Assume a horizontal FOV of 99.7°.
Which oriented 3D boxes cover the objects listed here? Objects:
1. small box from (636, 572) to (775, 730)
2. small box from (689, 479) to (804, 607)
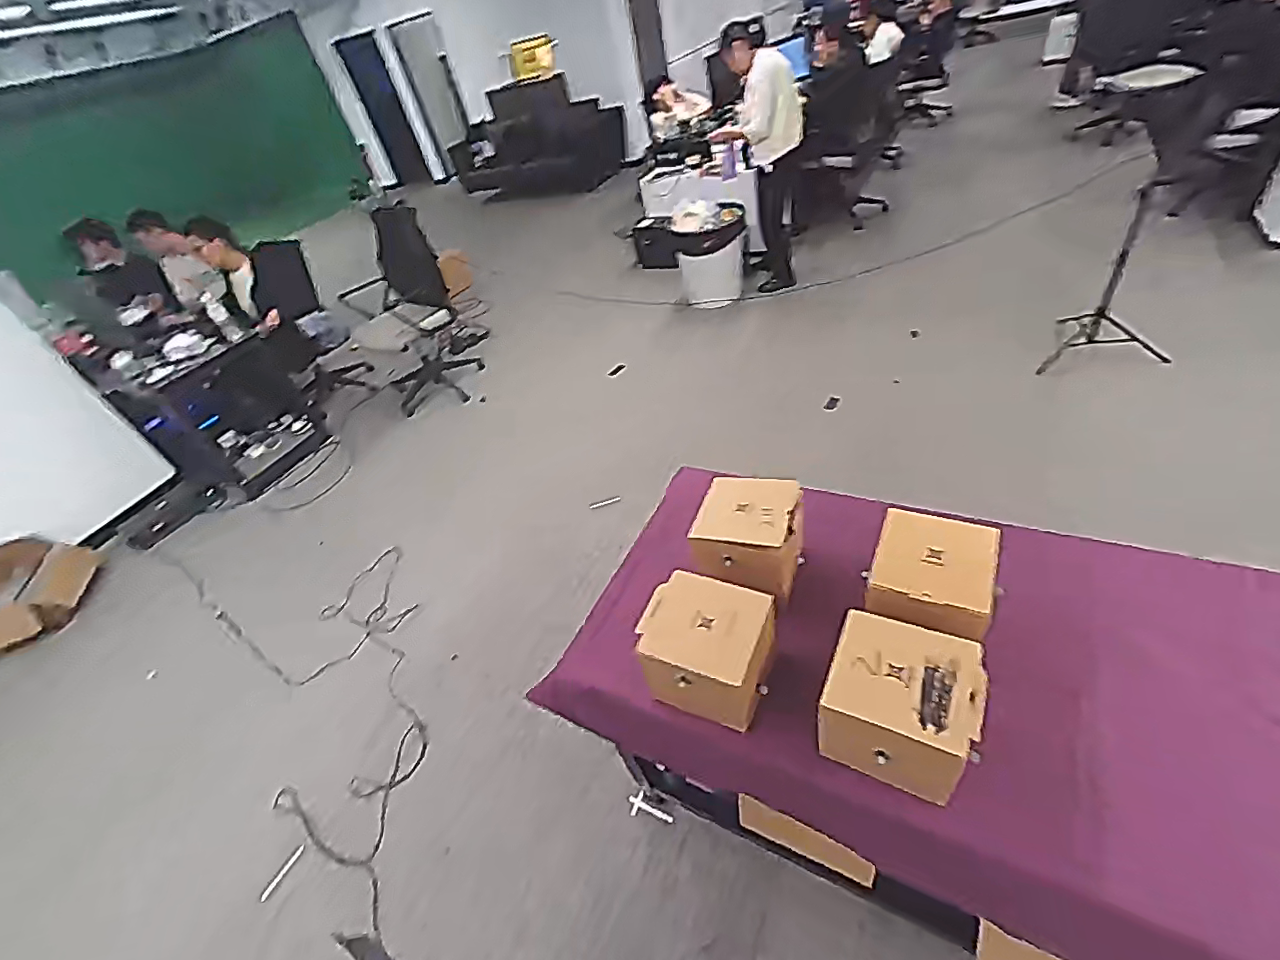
[{"bbox_3d":[0.118,0.287,0.906,0.179,0.176,0.168,12,48,27],"label":"small box"},{"bbox_3d":[0.215,0.124,1.056,0.179,0.176,0.168,10,47,26],"label":"small box"}]
